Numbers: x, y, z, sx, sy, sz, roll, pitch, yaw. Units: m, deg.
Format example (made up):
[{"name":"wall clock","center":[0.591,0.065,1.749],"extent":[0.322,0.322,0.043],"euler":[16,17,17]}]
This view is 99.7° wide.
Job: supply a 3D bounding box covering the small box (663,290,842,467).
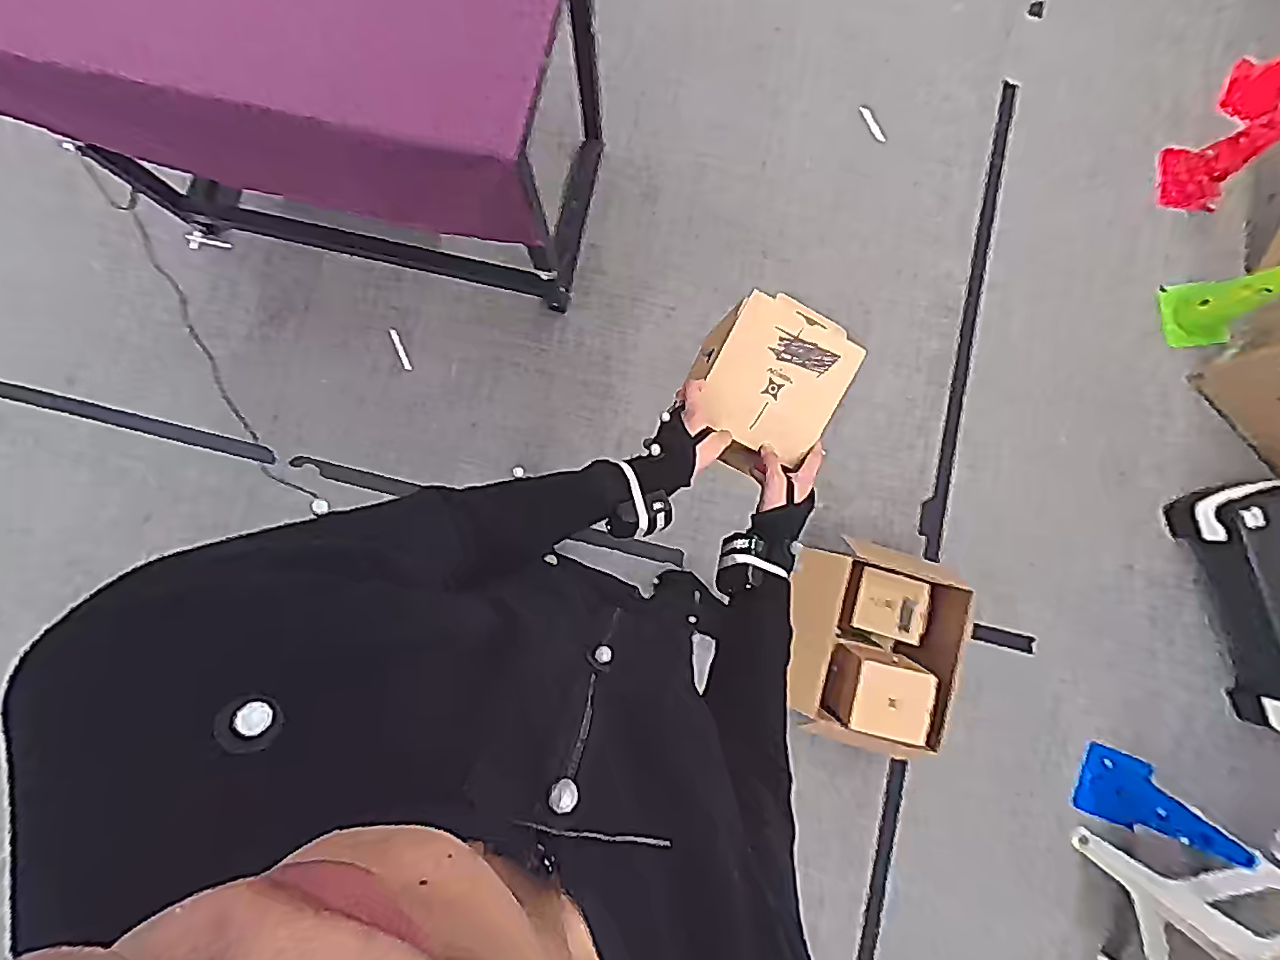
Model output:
[{"name":"small box","center":[0.147,-0.130,0.772],"extent":[0.168,0.176,0.179],"euler":[25,85,-7]}]
